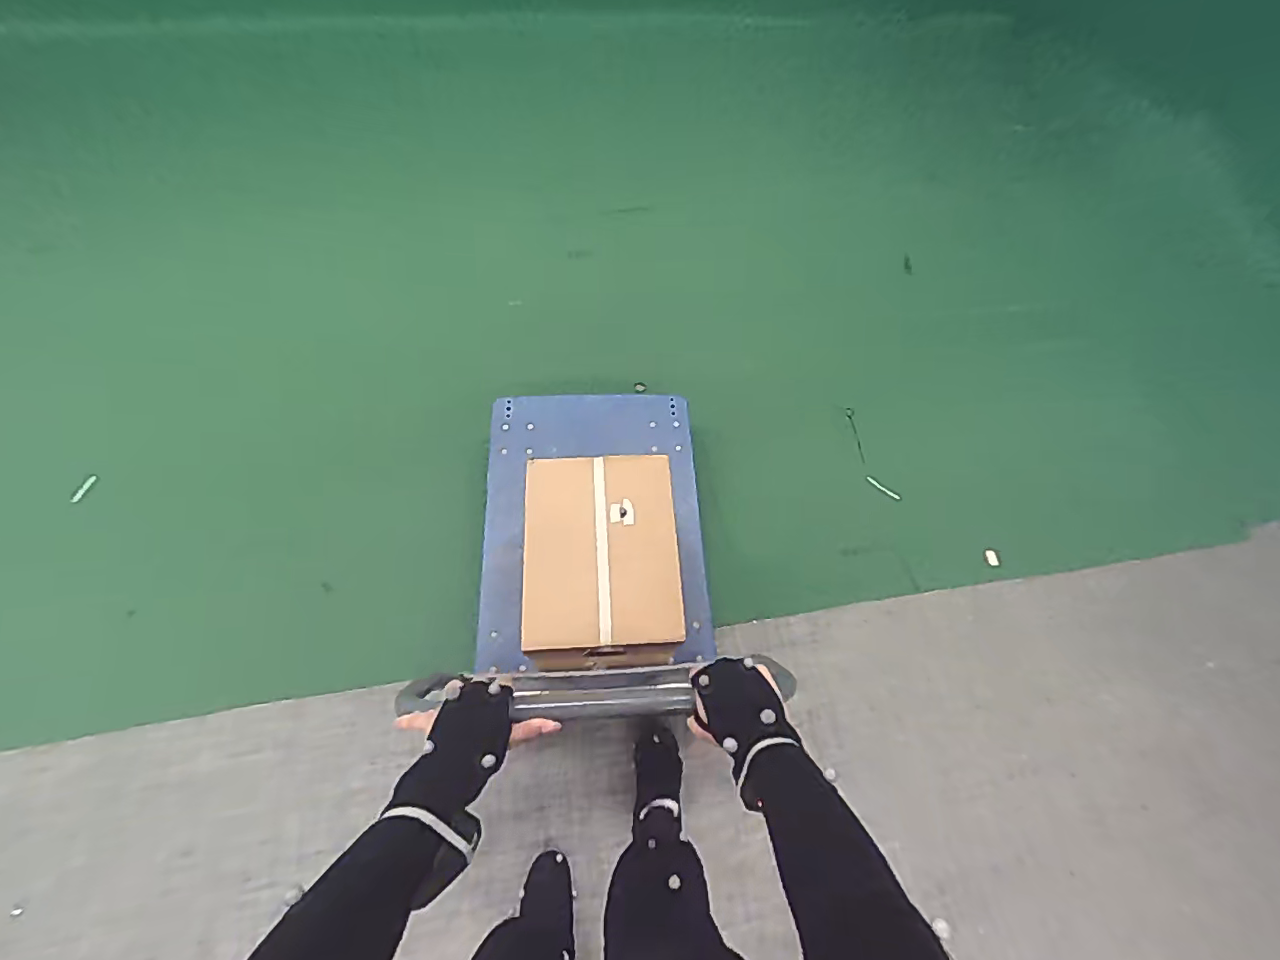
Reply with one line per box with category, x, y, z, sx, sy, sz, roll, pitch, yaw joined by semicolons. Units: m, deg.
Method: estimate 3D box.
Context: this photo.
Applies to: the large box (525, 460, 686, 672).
large box;-0.085;0.207;1.248;0.320;0.320;0.408;-2;64;-5
